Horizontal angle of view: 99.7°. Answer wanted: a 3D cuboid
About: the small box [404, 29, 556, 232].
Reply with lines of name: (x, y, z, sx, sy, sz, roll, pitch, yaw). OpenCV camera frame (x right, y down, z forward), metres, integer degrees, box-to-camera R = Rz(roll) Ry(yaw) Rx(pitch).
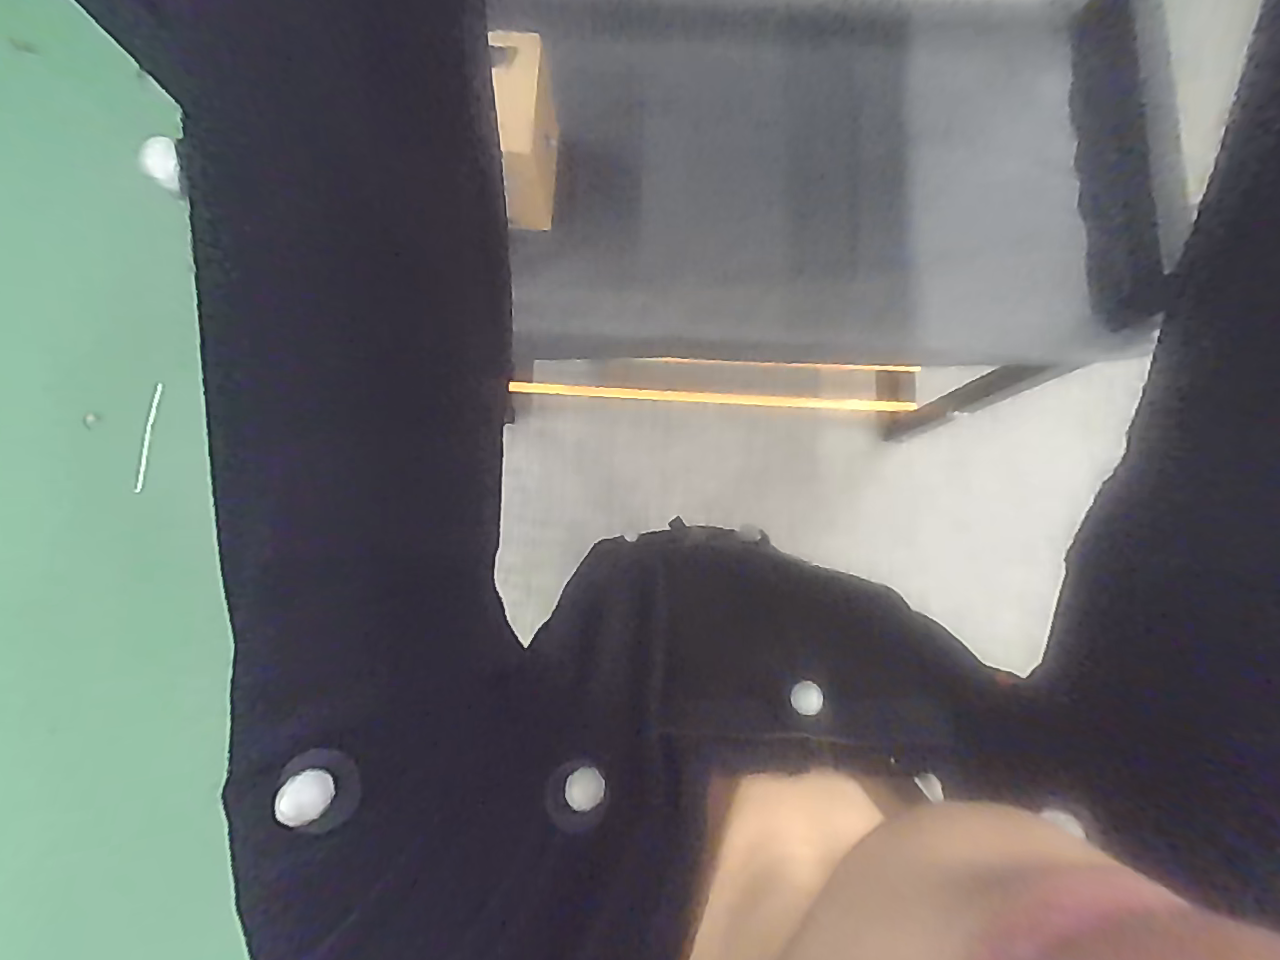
small box: (-0.216, -0.491, 0.778, 0.168, 0.176, 0.179, 3, 82, -1)
